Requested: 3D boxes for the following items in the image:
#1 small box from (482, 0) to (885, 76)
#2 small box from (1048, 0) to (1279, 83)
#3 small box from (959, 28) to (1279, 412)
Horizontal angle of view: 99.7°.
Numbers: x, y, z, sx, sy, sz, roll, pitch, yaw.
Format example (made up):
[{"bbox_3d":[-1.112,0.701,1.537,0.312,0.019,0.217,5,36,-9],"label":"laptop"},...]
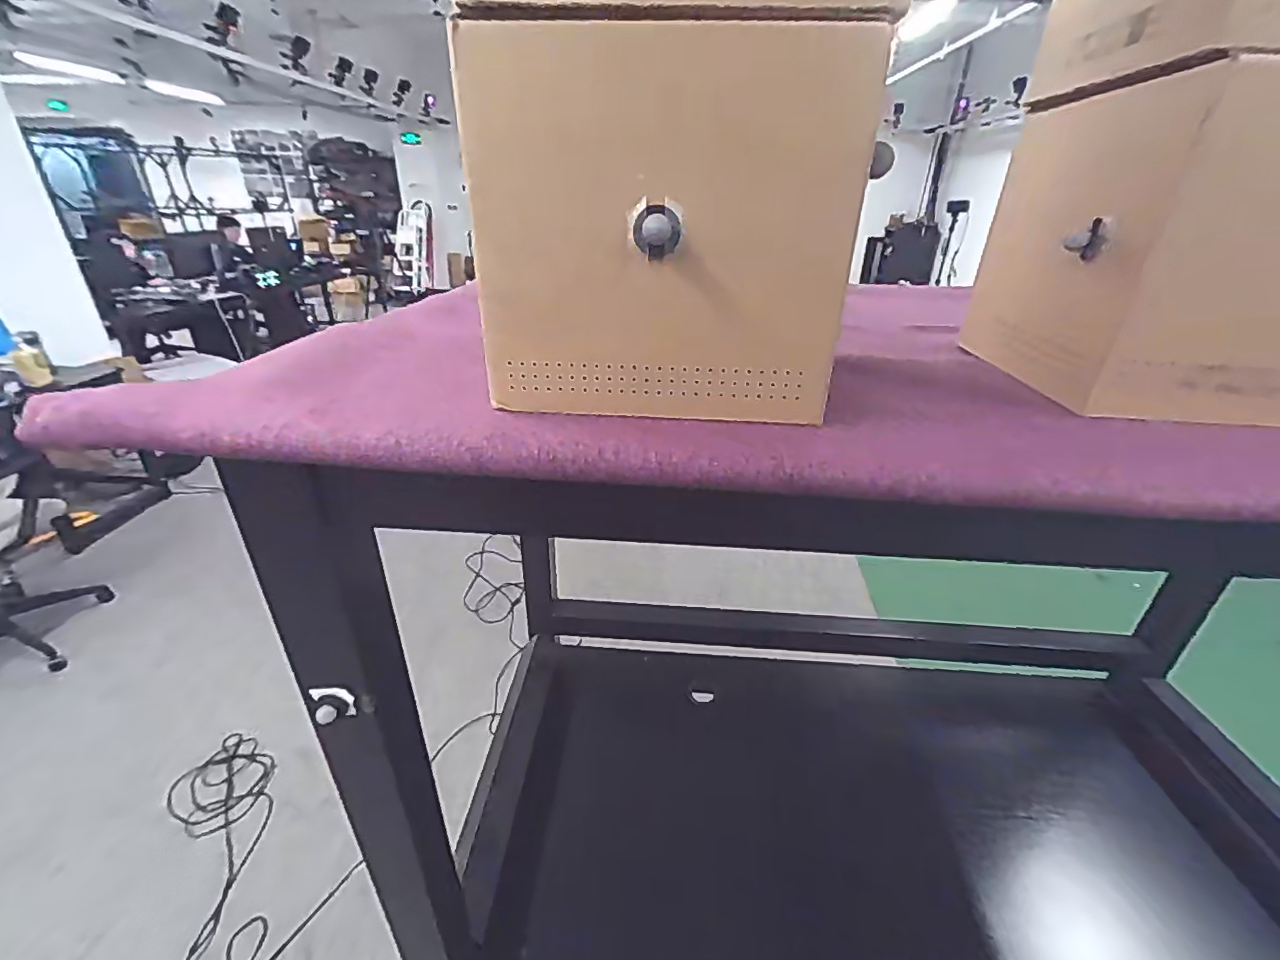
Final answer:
[{"bbox_3d":[0.018,-0.292,0.233,0.179,0.176,0.168,1,28,2],"label":"small box"},{"bbox_3d":[0.338,-0.294,0.255,0.179,0.176,0.168,4,28,4],"label":"small box"},{"bbox_3d":[0.334,-0.147,0.331,0.168,0.176,0.179,4,27,3],"label":"small box"}]
